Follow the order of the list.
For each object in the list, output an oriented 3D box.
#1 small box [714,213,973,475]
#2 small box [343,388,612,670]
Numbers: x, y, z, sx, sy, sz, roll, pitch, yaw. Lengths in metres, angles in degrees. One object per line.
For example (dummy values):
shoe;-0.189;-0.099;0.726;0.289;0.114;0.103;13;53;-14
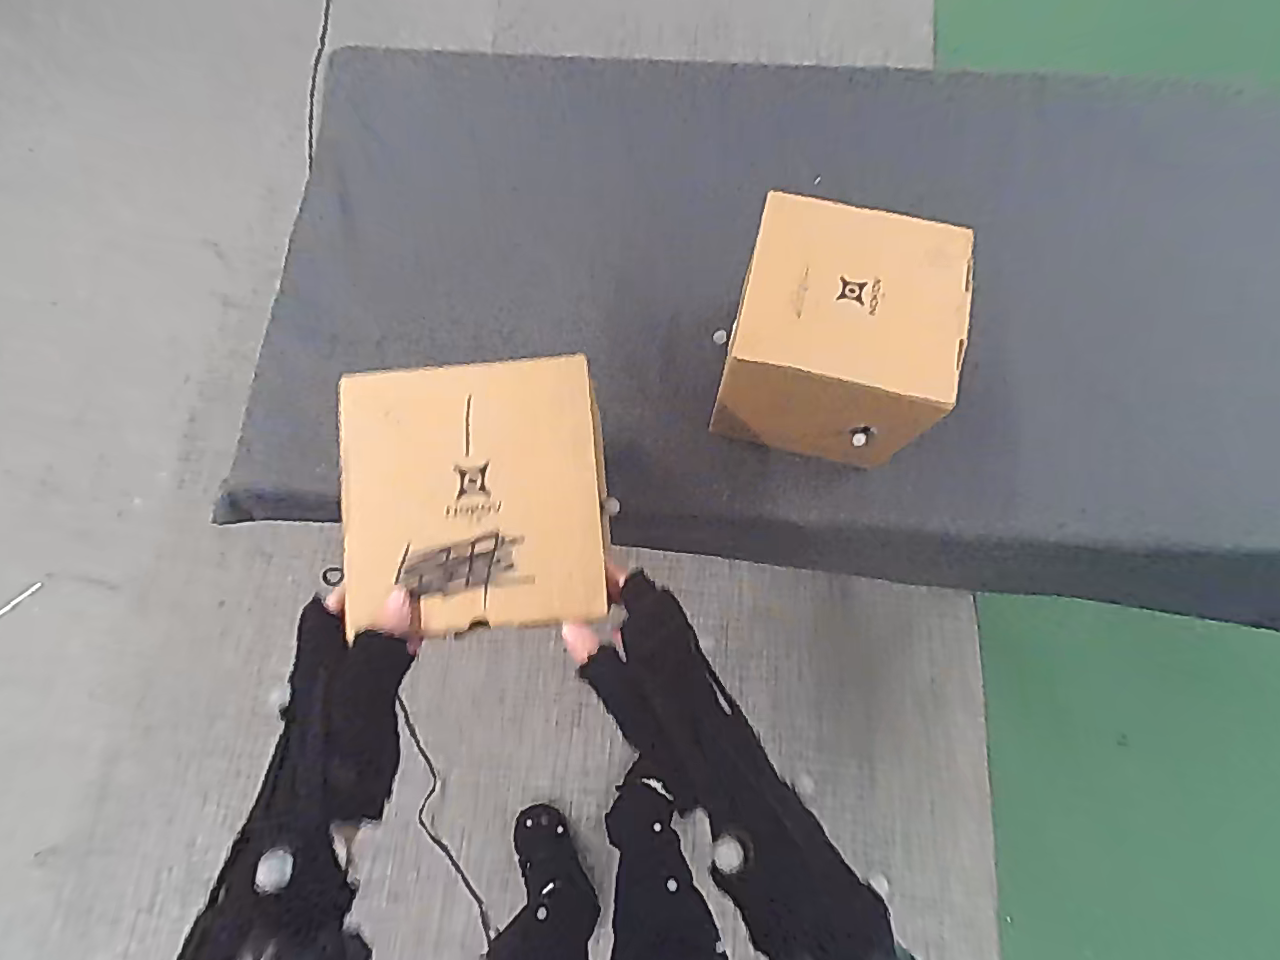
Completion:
small box;0.179;-0.115;0.519;0.179;0.176;0.168;13;74;6
small box;-0.111;0.039;0.430;0.168;0.176;0.179;-4;81;-2
